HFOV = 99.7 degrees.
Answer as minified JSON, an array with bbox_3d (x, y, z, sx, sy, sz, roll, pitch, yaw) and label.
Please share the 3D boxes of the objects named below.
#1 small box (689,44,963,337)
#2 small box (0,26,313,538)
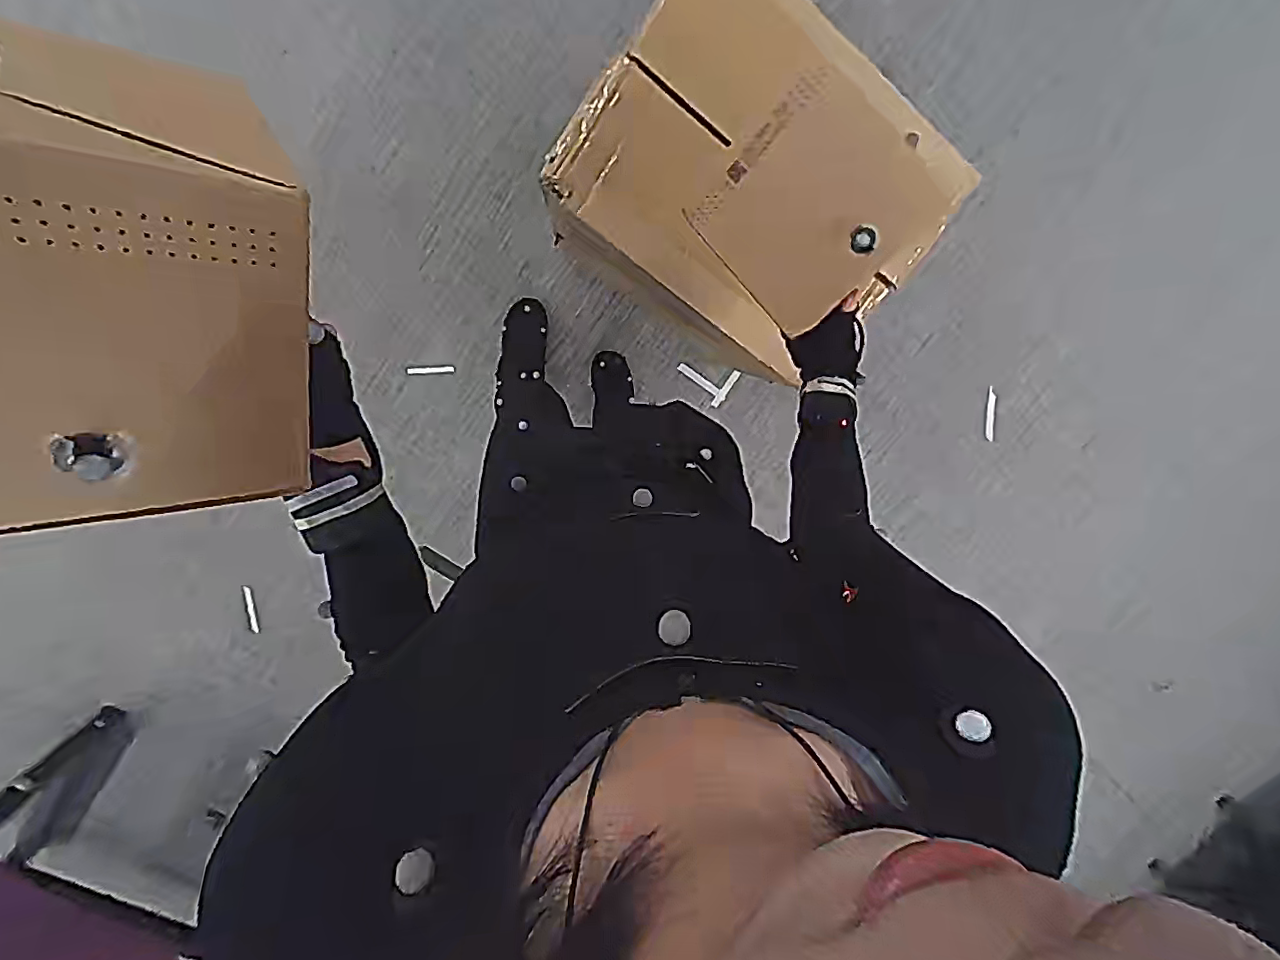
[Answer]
[{"bbox_3d":[0.180,-0.271,0.525,0.176,0.179,0.168,49,128,0],"label":"small box"},{"bbox_3d":[-0.269,-0.095,0.248,0.179,0.168,0.176,-10,136,-39],"label":"small box"}]
